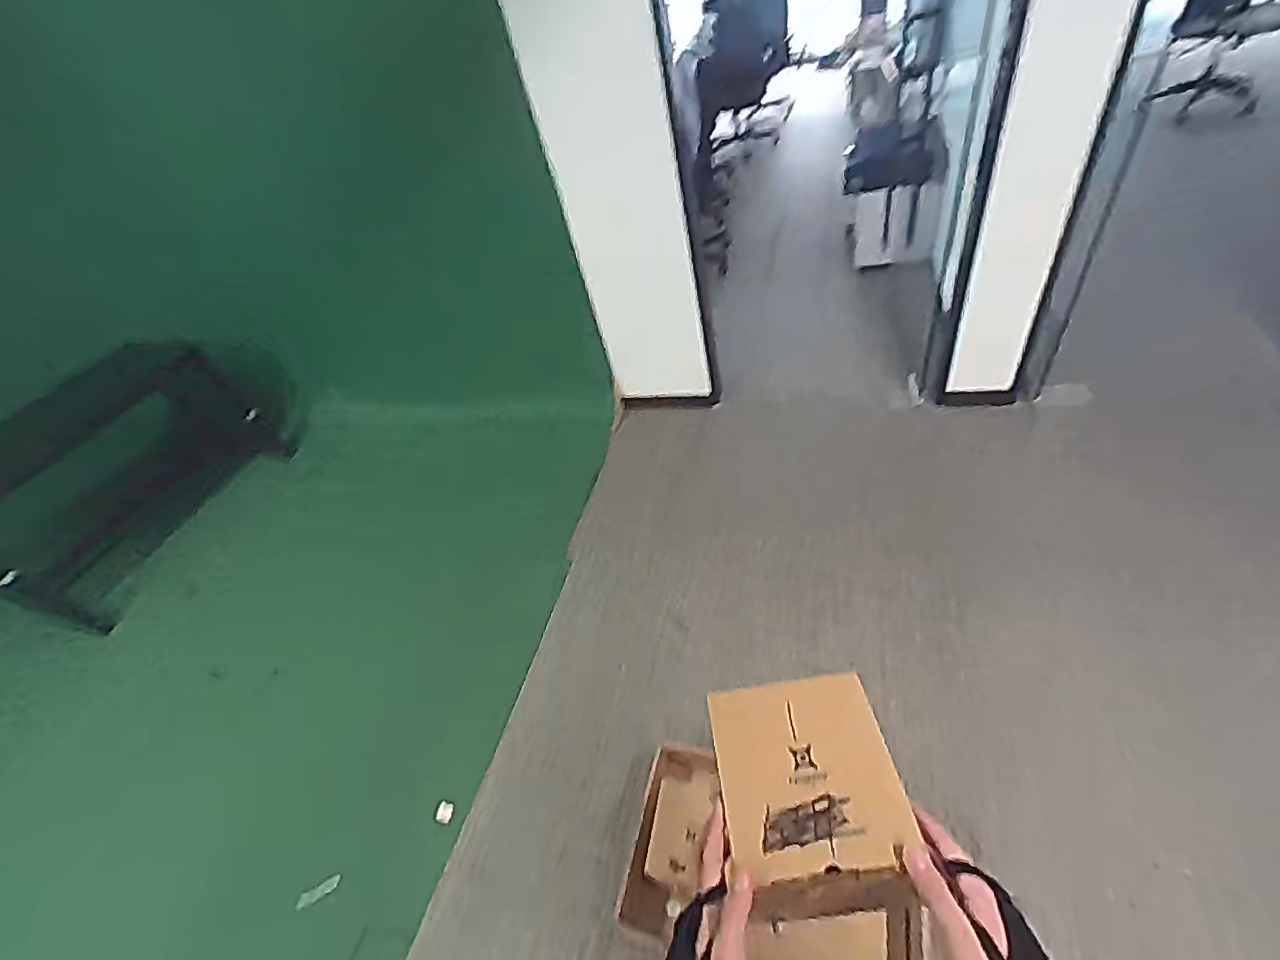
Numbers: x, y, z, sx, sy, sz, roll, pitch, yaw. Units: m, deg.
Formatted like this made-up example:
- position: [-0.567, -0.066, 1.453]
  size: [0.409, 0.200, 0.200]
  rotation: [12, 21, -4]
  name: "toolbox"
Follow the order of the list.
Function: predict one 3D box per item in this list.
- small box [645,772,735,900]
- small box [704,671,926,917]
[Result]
- position: [0.122, 0.751, 1.141]
  size: [0.168, 0.176, 0.179]
  rotation: [2, 47, 19]
  name: "small box"
- position: [0.168, 0.332, 0.566]
  size: [0.168, 0.176, 0.179]
  rotation: [-10, 41, 3]
  name: "small box"
